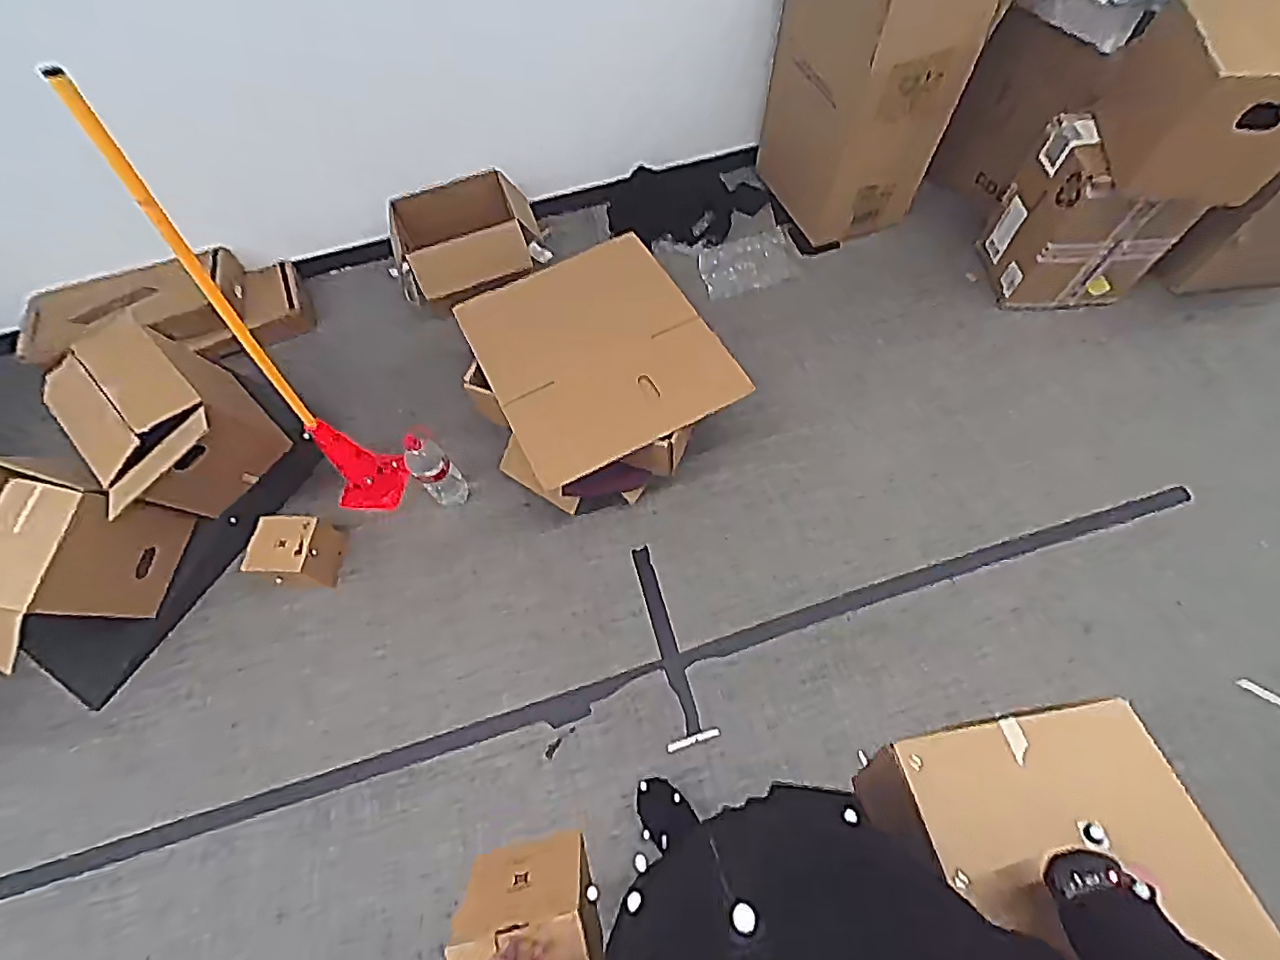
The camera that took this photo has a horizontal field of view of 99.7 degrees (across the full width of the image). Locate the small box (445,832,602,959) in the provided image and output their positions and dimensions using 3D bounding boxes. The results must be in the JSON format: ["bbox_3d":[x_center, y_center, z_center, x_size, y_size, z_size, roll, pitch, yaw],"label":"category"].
[{"bbox_3d":[-0.147,0.636,0.739,0.168,0.179,0.176,-12,87,-6],"label":"small box"}]
